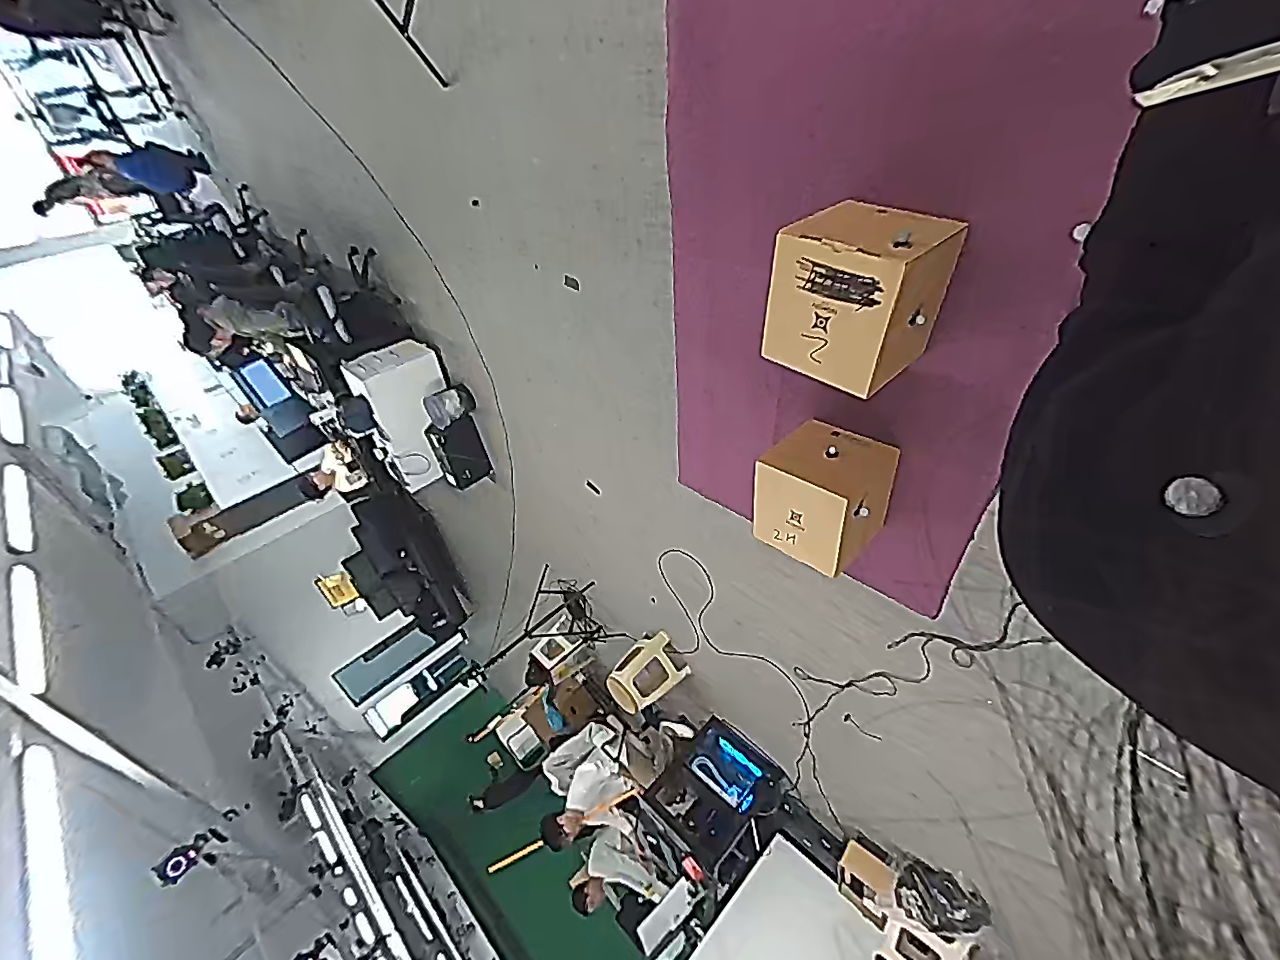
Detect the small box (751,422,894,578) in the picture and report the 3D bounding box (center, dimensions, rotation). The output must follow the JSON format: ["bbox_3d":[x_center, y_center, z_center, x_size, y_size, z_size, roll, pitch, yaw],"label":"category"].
[{"bbox_3d":[0.309,0.025,0.927,0.168,0.176,0.179,30,141,38],"label":"small box"}]
